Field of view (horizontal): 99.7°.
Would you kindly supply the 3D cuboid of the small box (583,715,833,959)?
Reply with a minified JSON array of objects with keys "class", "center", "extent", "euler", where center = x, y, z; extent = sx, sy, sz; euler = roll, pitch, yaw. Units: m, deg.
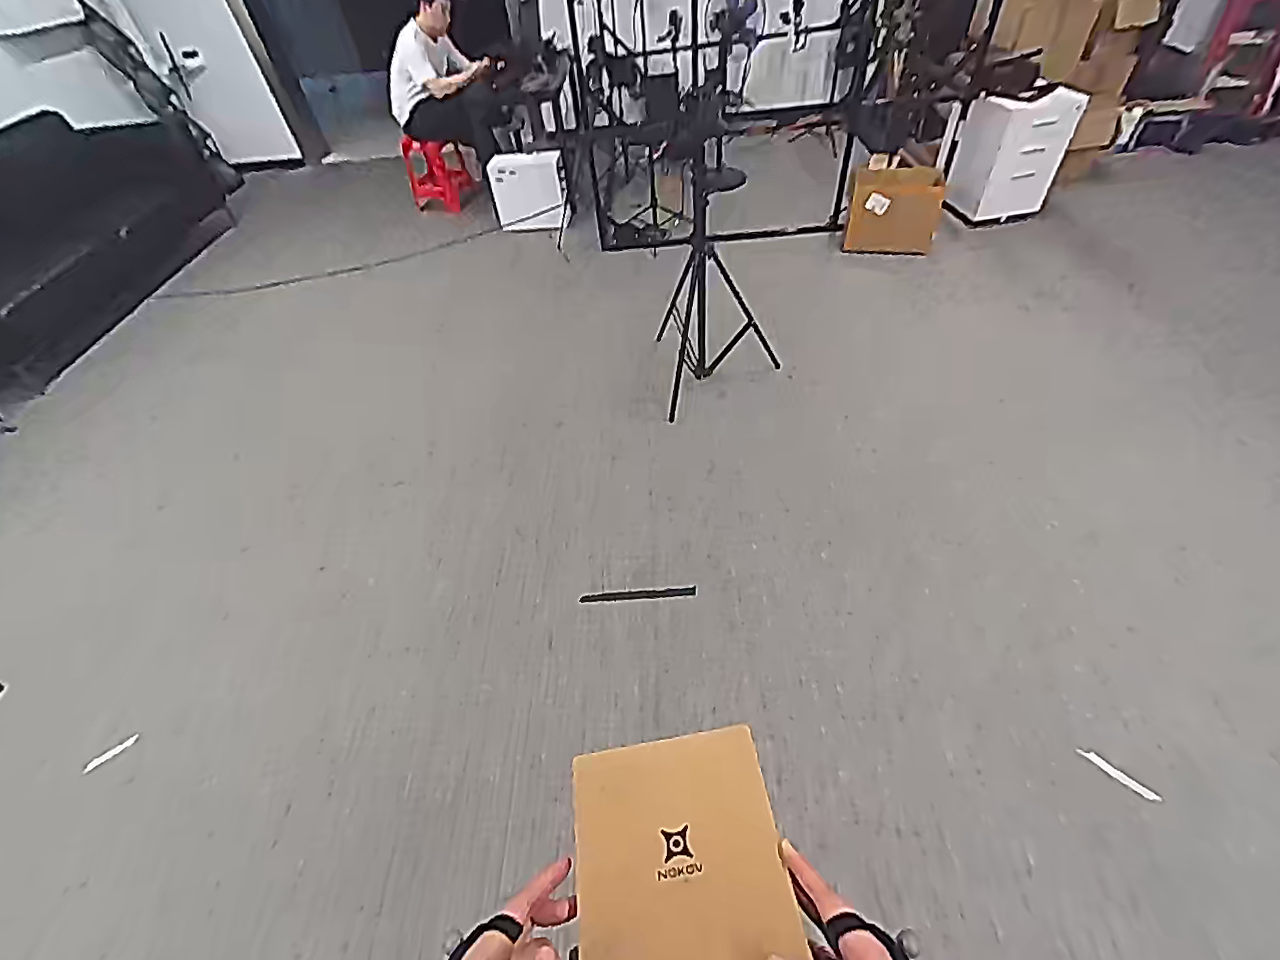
[{"class":"small box","center":[0.050,0.342,0.479],"extent":[0.168,0.176,0.179],"euler":[-12,44,-1]}]
